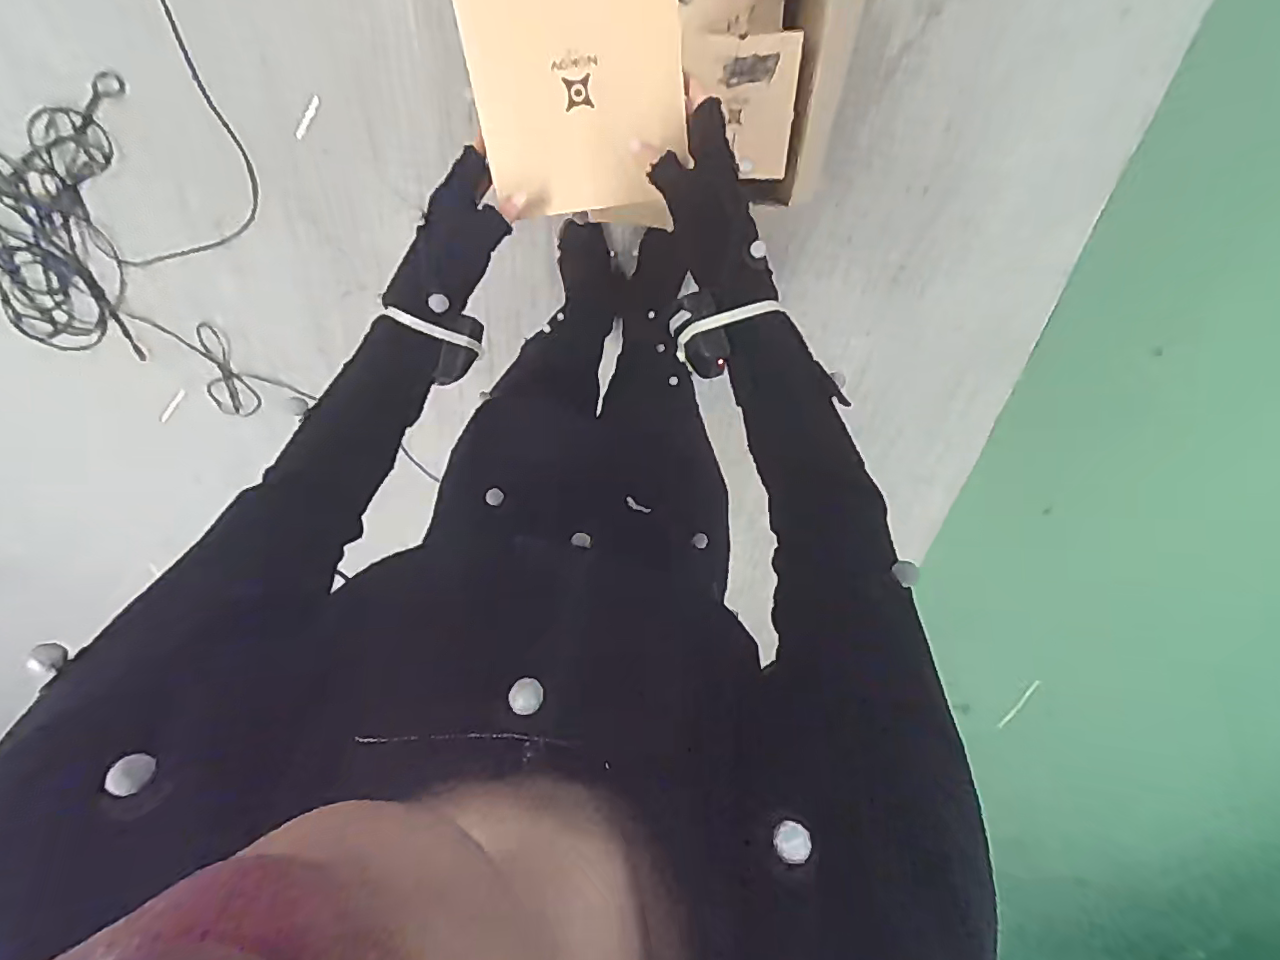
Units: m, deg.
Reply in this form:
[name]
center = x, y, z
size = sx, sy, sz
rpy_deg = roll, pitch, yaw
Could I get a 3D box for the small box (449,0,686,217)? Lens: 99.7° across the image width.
[small box]
center = -0.049, -0.345, 0.476
size = 0.168, 0.176, 0.179
rpy_deg = -6, 120, 4
